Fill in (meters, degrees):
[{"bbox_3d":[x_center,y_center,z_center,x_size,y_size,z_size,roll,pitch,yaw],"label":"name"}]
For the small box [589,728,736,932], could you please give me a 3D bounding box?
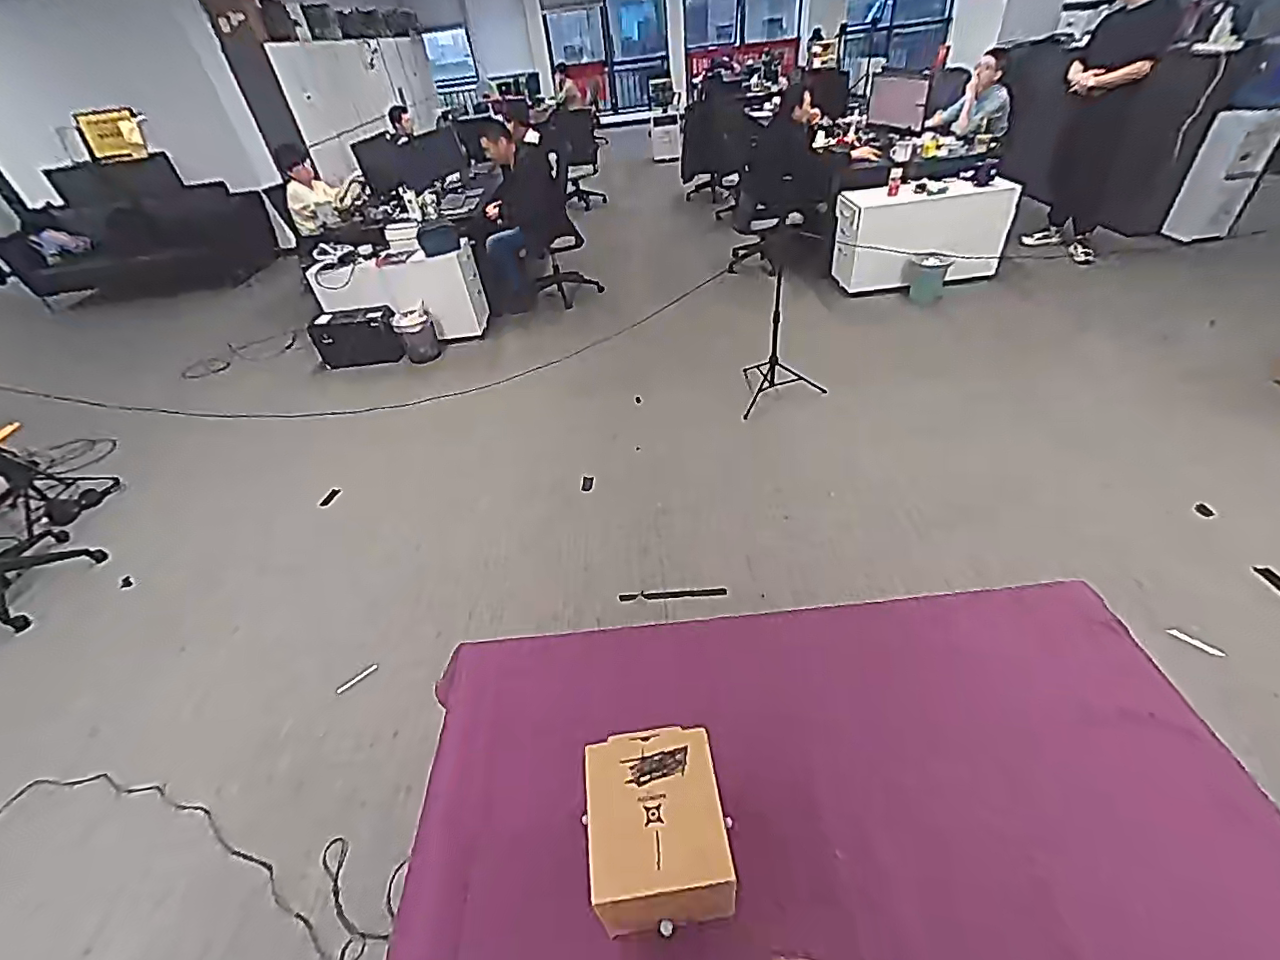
[{"bbox_3d":[0.025,0.463,0.720,0.168,0.176,0.179,-9,41,-1],"label":"small box"}]
